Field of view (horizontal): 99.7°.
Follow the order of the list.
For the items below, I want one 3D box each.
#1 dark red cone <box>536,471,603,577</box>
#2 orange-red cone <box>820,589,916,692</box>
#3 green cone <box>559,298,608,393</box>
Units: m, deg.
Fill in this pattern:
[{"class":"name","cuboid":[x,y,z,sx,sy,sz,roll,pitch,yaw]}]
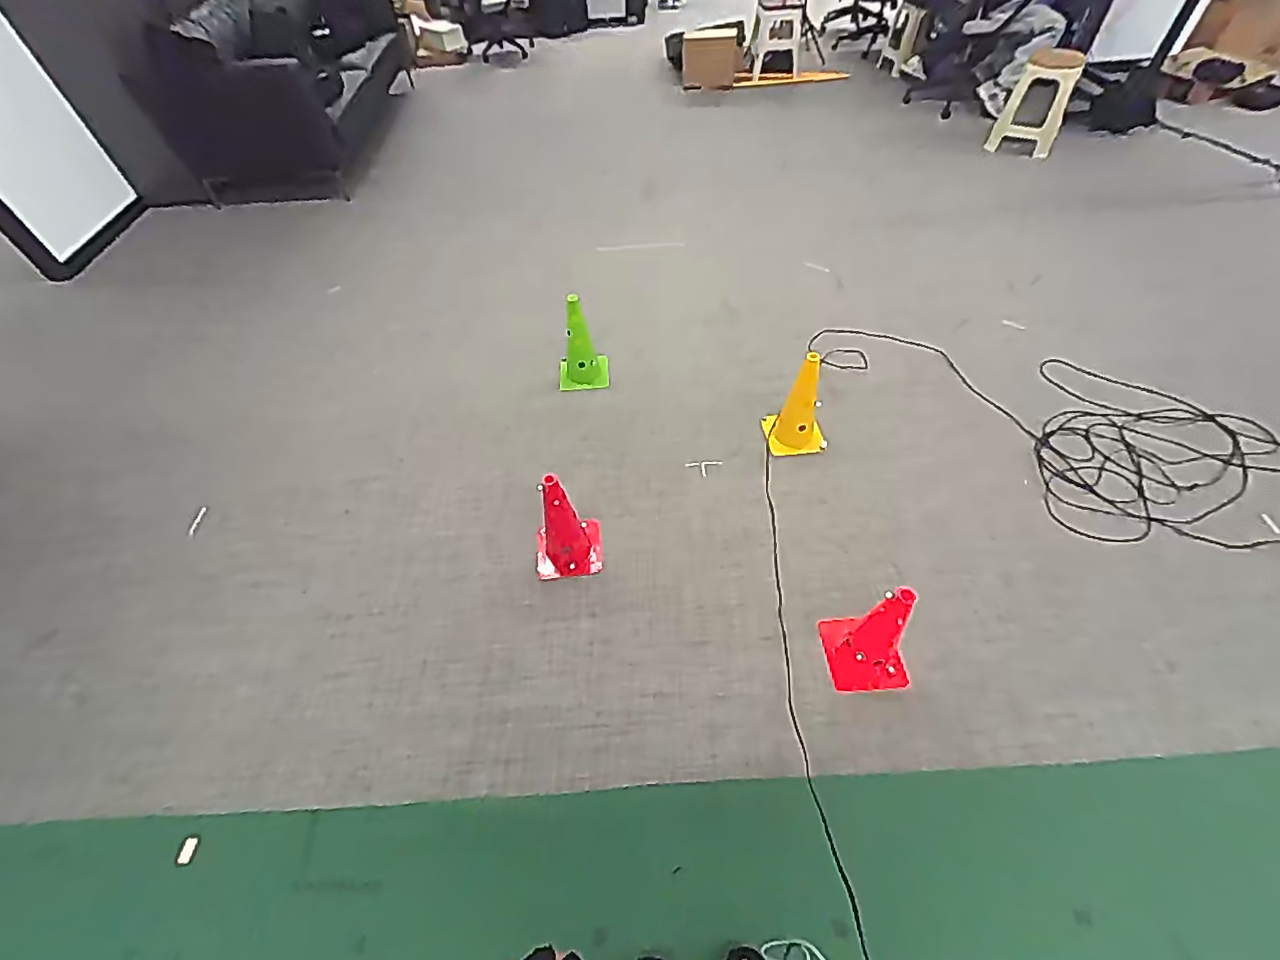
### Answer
[{"class":"dark red cone","cuboid":[-0.229,0.107,1.555,0.202,0.394,0.201,-8,53,-3]},{"class":"orange-red cone","cuboid":[0.596,0.364,1.329,0.198,0.360,0.199,-3,50,0]},{"class":"green cone","cuboid":[-0.239,-0.538,2.104,0.202,0.368,0.200,-4,52,-2]}]
